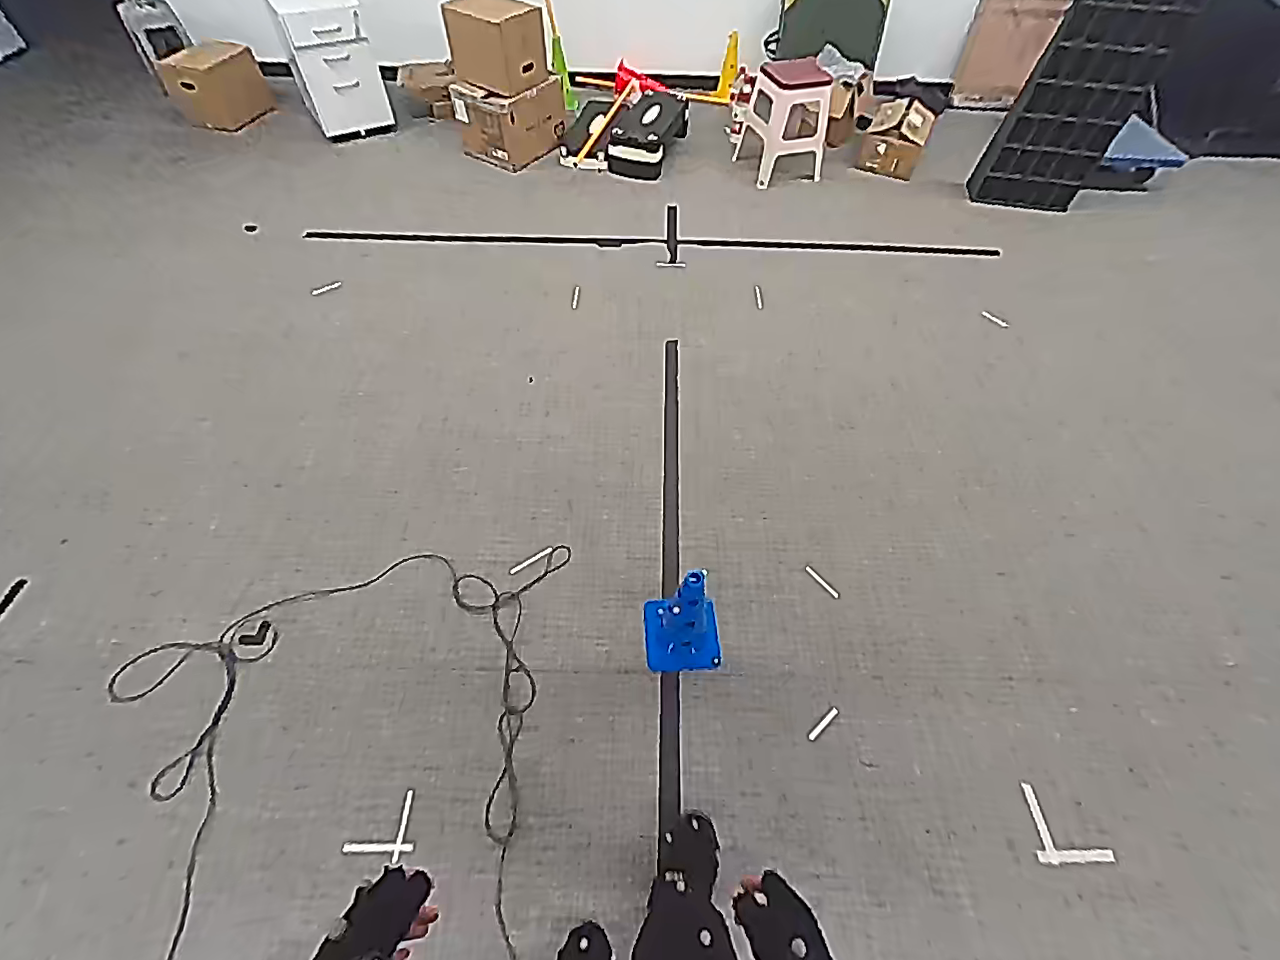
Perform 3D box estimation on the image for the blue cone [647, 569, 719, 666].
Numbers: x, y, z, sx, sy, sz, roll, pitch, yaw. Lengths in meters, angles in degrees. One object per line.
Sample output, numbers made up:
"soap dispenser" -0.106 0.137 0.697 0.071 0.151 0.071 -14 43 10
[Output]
"blue cone" 0.123 0.322 1.356 0.192 0.380 0.193 0 55 -3
